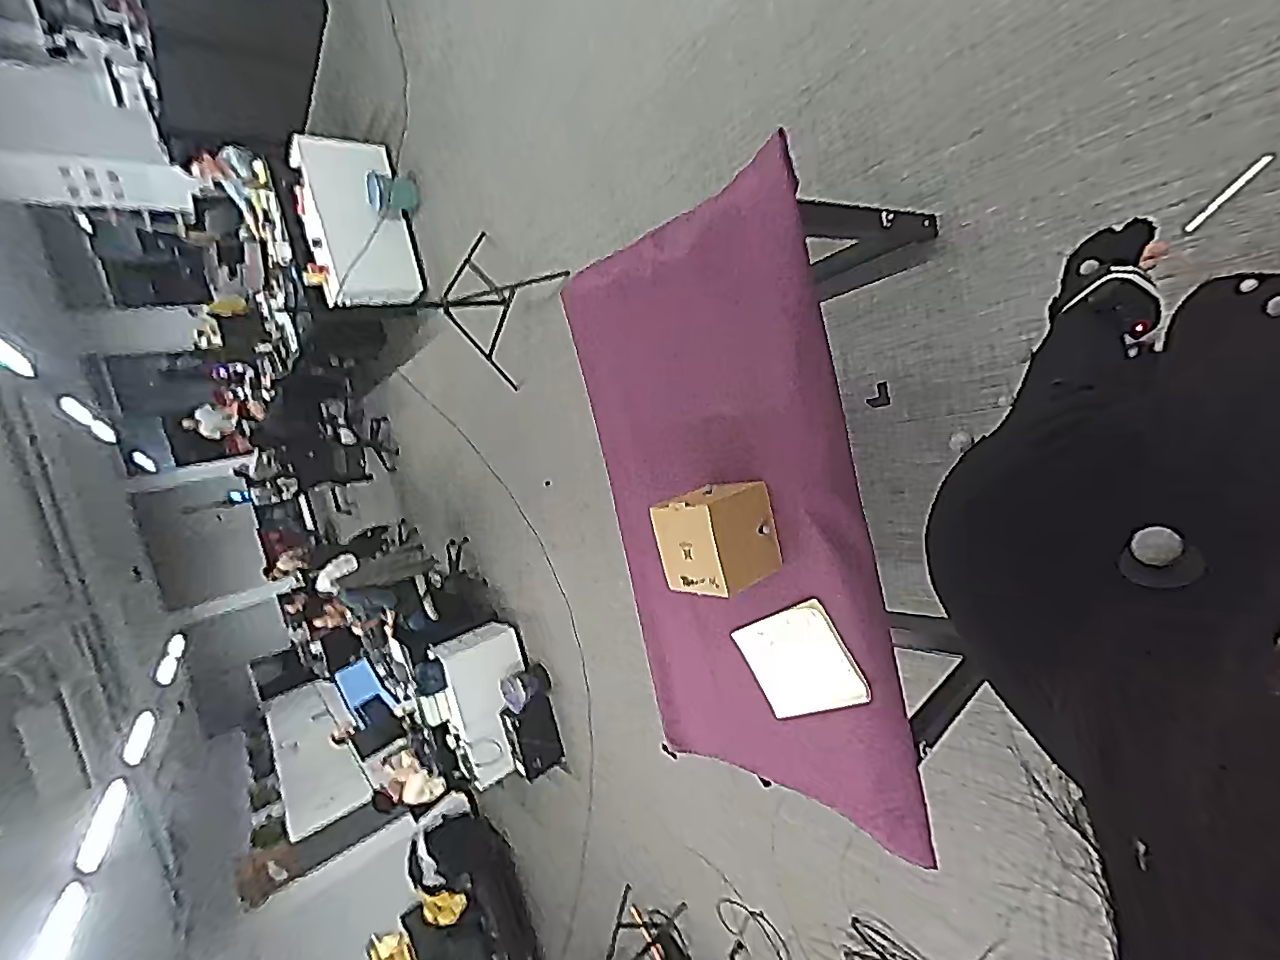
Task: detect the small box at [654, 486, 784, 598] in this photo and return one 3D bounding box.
[{"bbox_3d":[0.156,0.112,1.057,0.168,0.176,0.179,-7,98,54],"label":"small box"}]
